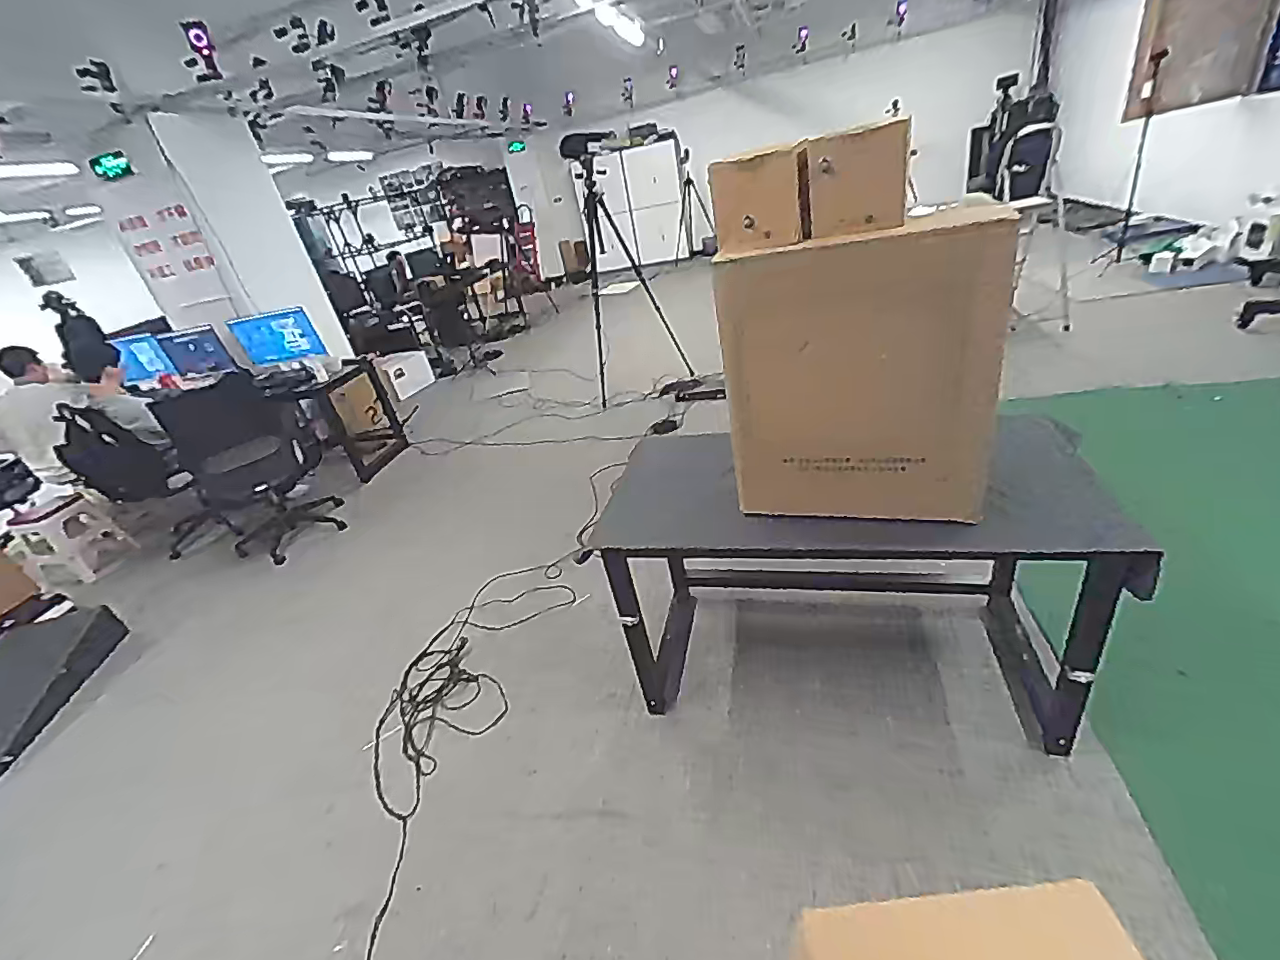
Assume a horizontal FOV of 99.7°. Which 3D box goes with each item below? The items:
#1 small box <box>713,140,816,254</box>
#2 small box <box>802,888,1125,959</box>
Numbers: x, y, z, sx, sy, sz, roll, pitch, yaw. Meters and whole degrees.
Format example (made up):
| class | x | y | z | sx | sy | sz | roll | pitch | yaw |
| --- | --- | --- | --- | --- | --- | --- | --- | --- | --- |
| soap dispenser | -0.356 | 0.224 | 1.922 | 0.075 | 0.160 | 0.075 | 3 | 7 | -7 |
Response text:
| class | x | y | z | sx | sy | sz | roll | pitch | yaw |
| --- | --- | --- | --- | --- | --- | --- | --- | --- | --- |
| small box | 0.258 | -0.568 | 1.091 | 0.168 | 0.176 | 0.179 | 3 | 36 | 26 |
| small box | 0.182 | 0.355 | 0.285 | 0.168 | 0.176 | 0.179 | -7 | 36 | 0 |
